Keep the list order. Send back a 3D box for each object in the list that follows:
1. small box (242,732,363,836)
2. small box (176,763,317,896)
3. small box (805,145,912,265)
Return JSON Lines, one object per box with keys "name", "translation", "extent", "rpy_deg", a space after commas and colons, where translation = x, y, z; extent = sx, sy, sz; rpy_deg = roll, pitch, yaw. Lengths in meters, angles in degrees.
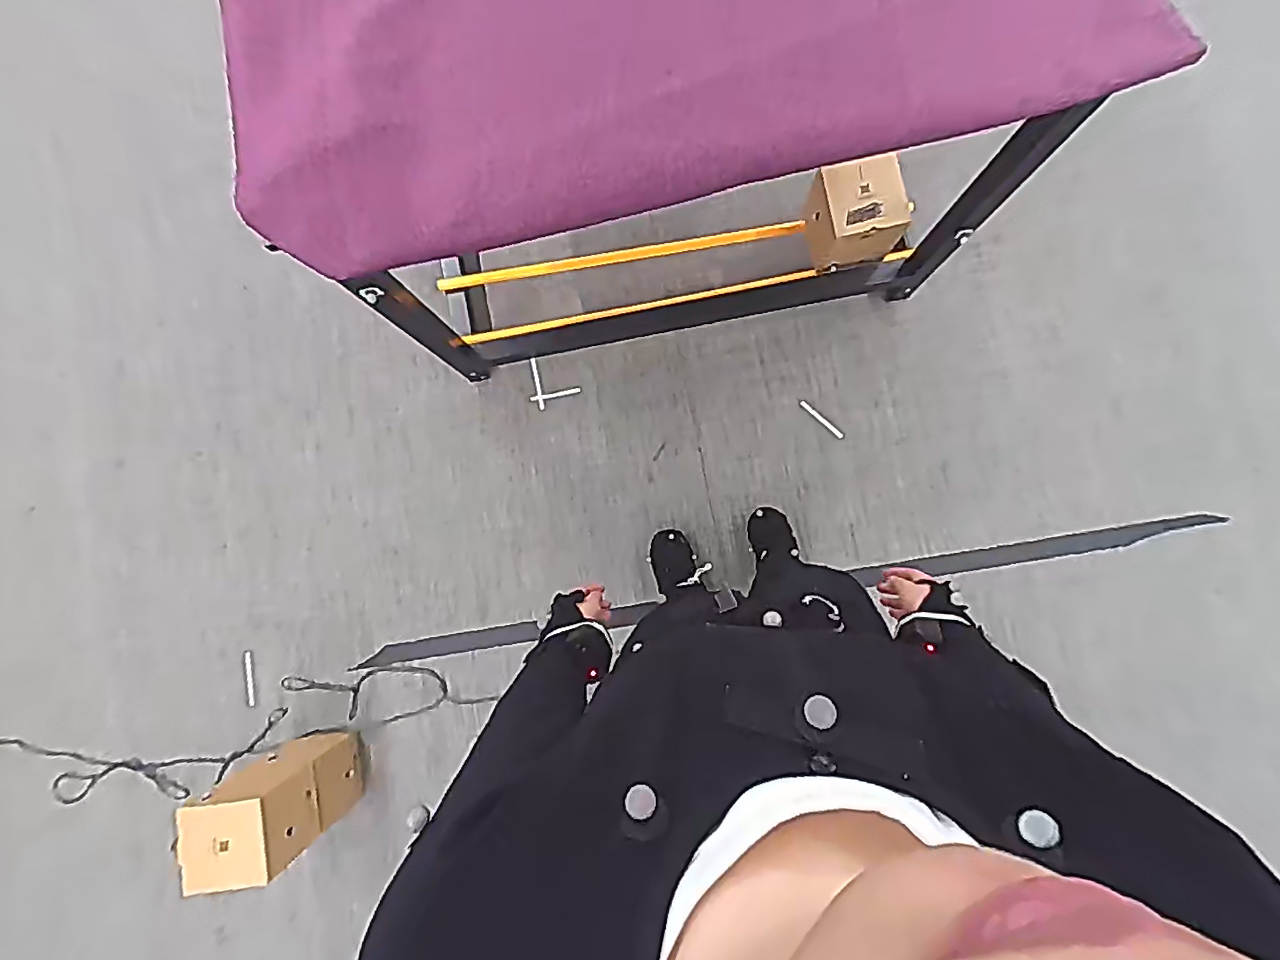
{"name": "small box", "translation": [-0.794, 0.722, 1.284], "extent": [0.179, 0.176, 0.168], "rpy_deg": [-9, 87, 2]}
{"name": "small box", "translation": [-0.801, 0.713, 1.122], "extent": [0.179, 0.176, 0.168], "rpy_deg": [-9, 86, 3]}
{"name": "small box", "translation": [0.487, -0.611, 1.230], "extent": [0.168, 0.176, 0.179], "rpy_deg": [-10, 84, 3]}
